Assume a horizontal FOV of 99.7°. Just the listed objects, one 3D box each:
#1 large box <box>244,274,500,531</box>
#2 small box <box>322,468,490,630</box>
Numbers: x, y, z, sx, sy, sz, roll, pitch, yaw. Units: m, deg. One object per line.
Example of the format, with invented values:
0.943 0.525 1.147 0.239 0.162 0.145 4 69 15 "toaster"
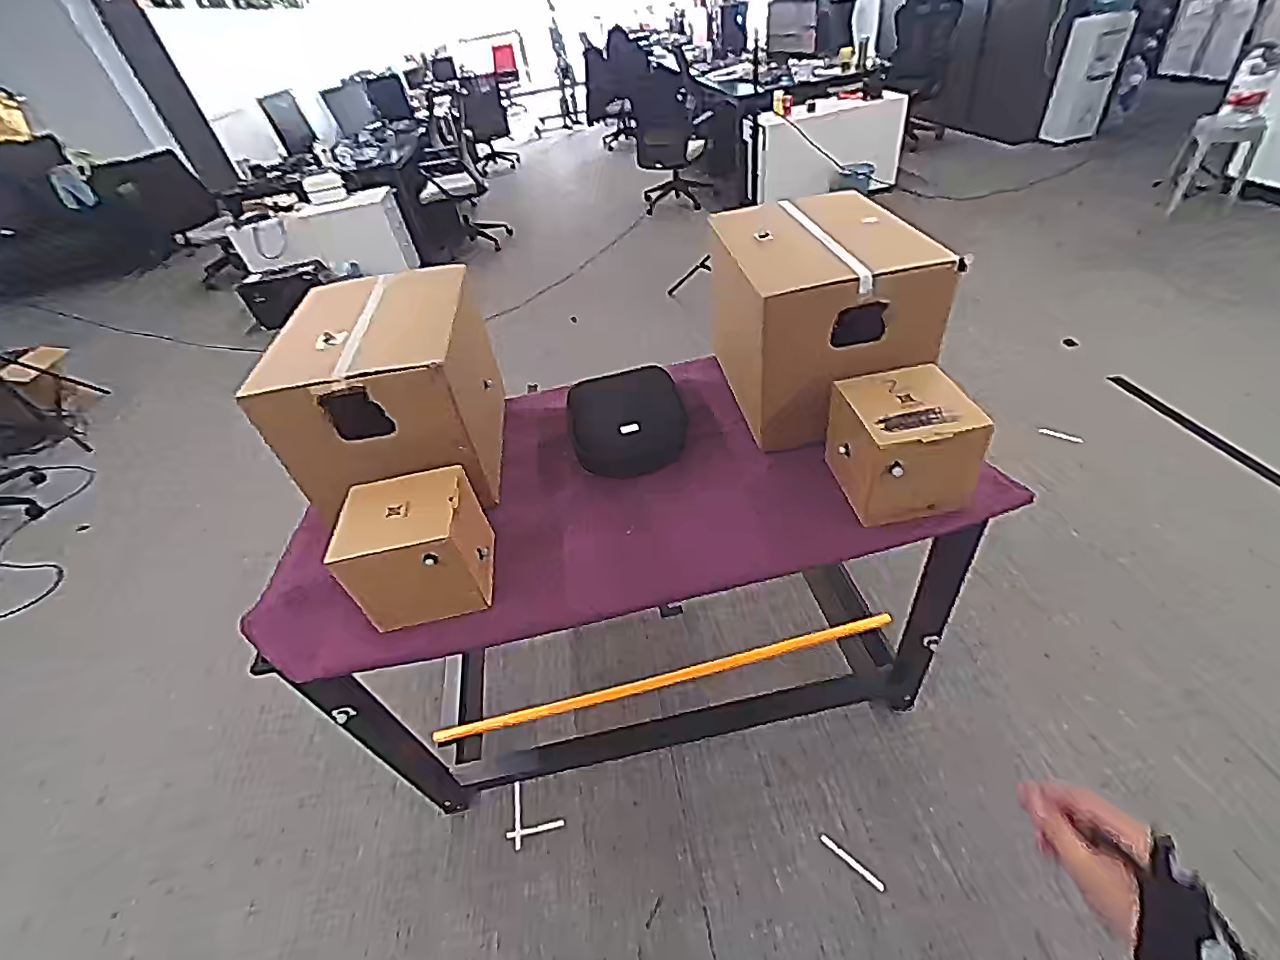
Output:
-0.465 -0.155 1.058 0.320 0.320 0.408 -11 44 -2 "large box"
-0.351 0.111 0.850 0.179 0.176 0.168 -13 41 -3 "small box"
